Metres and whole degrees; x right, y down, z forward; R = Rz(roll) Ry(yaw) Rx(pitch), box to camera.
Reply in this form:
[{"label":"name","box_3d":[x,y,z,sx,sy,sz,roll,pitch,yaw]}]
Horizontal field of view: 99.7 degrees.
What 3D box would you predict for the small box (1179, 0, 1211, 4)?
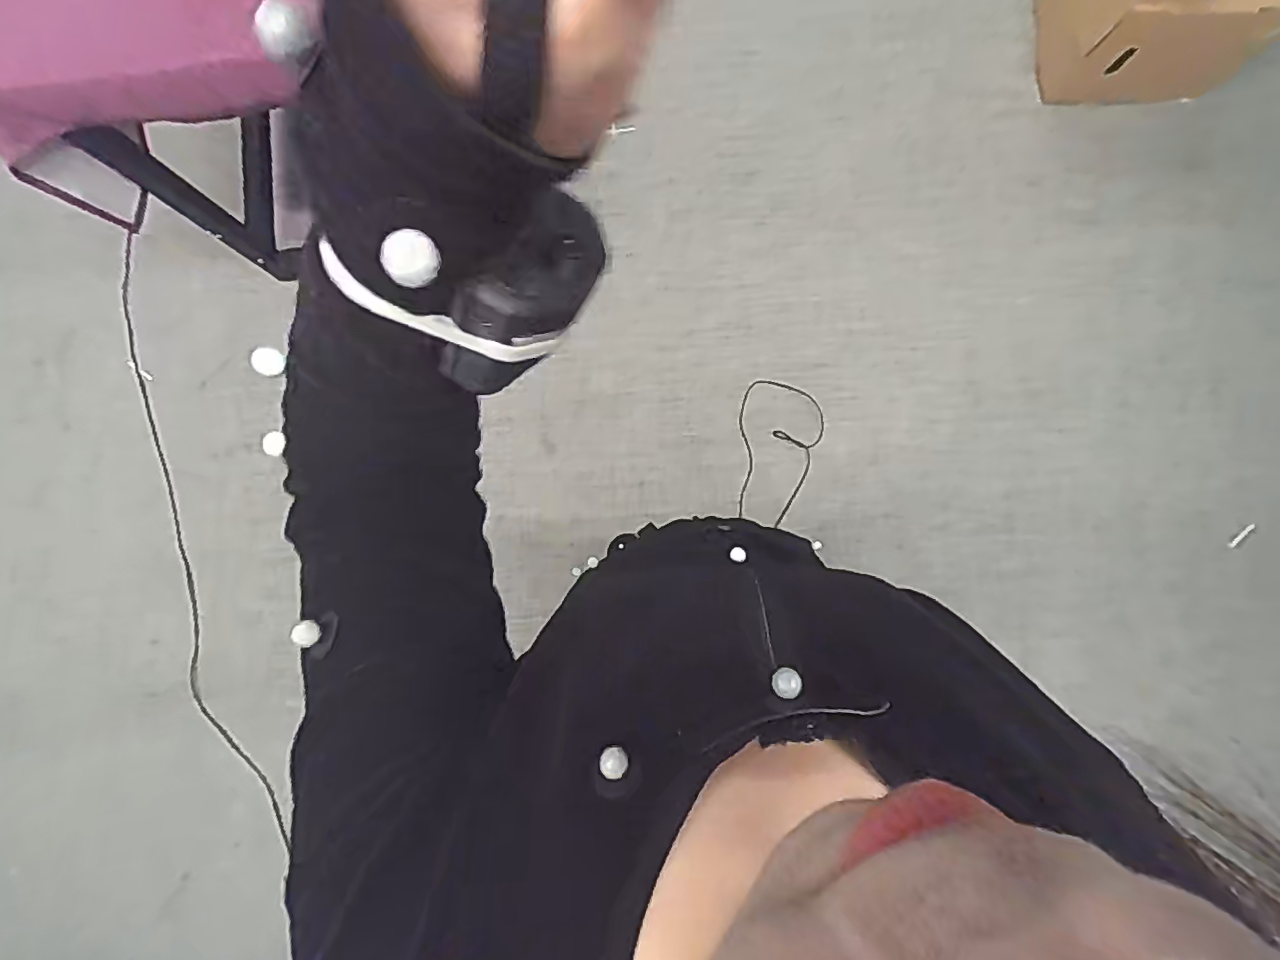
[{"label":"small box","box_3d":[1.297,-1.235,1.225,0.179,0.176,0.168,5,86,0]}]
